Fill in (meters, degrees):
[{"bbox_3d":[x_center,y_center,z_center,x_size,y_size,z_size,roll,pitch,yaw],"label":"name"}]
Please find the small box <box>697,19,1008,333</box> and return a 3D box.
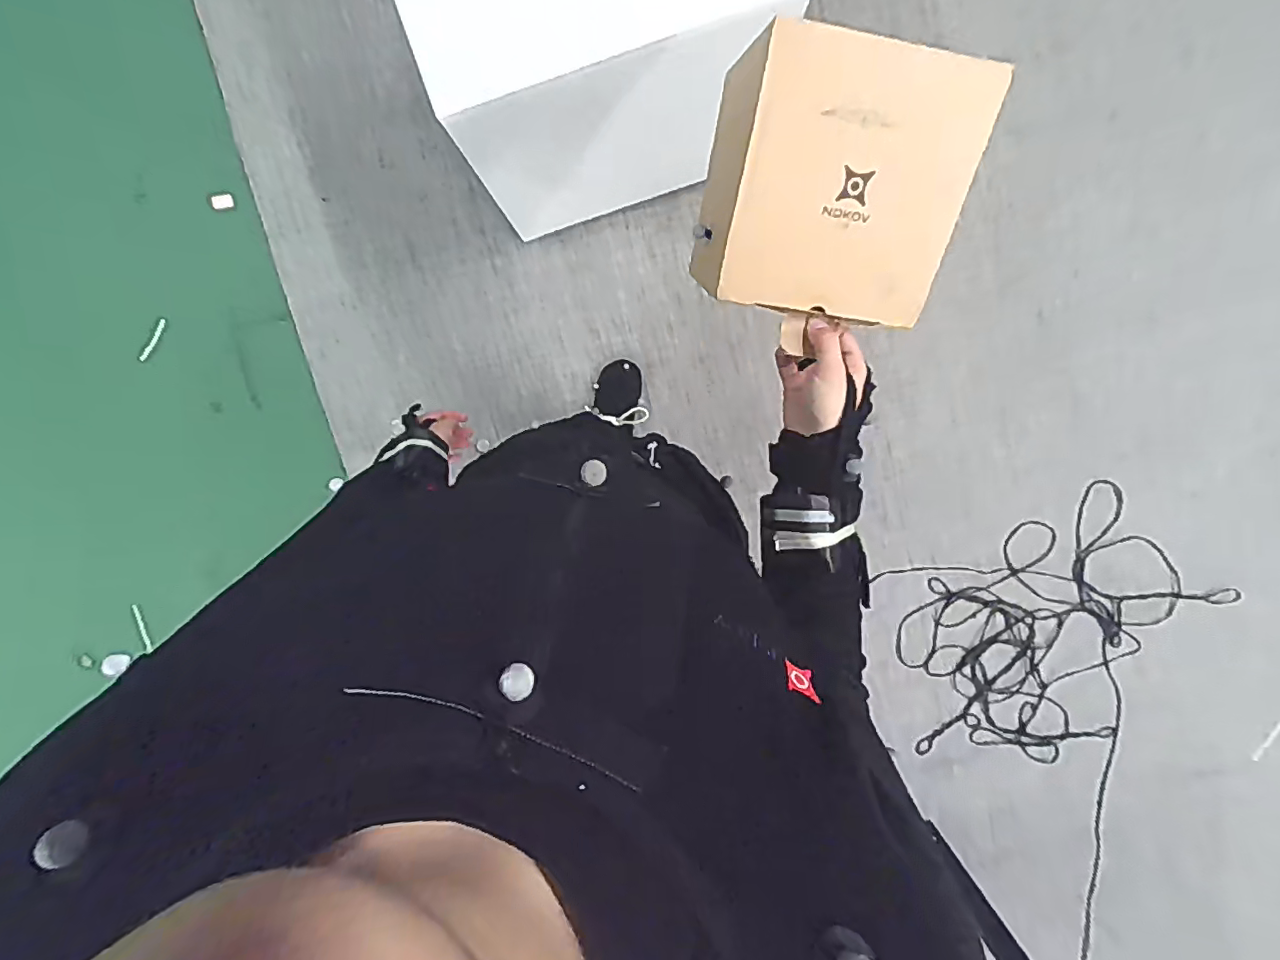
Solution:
[{"bbox_3d":[0.148,-0.240,0.457,0.168,0.176,0.179,7,116,-6],"label":"small box"}]
